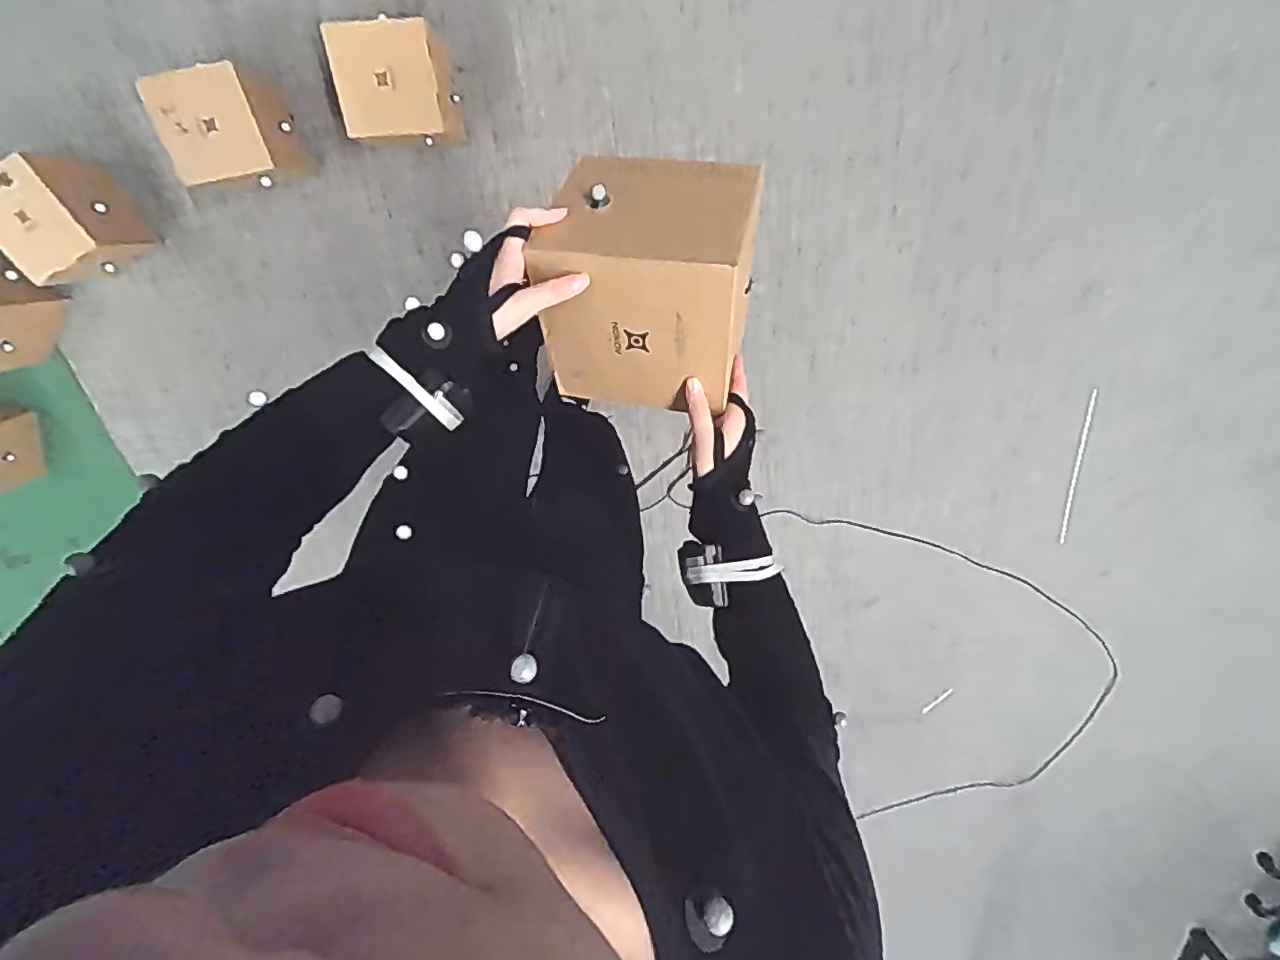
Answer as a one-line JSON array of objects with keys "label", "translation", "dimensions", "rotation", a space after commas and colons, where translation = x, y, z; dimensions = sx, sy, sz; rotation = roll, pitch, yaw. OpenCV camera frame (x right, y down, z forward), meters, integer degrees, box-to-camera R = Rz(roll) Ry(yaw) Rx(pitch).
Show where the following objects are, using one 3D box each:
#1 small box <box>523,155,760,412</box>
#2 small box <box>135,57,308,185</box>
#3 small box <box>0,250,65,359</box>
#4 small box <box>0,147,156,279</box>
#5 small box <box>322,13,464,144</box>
[{"label": "small box", "translation": [0.011, -0.194, 0.529], "dimensions": [0.179, 0.176, 0.168], "rotation": [10, 145, 10]}, {"label": "small box", "translation": [-0.765, -0.666, 1.020], "dimensions": [0.179, 0.176, 0.168], "rotation": [-10, 115, 1]}, {"label": "small box", "translation": [-1.381, -0.365, 1.131], "dimensions": [0.168, 0.176, 0.179], "rotation": [34, 108, -18]}, {"label": "small box", "translation": [-1.134, -0.524, 1.069], "dimensions": [0.168, 0.176, 0.179], "rotation": [-24, 115, 8]}, {"label": "small box", "translation": [-0.447, -0.737, 1.008], "dimensions": [0.179, 0.176, 0.168], "rotation": [-5, 116, -2]}]
